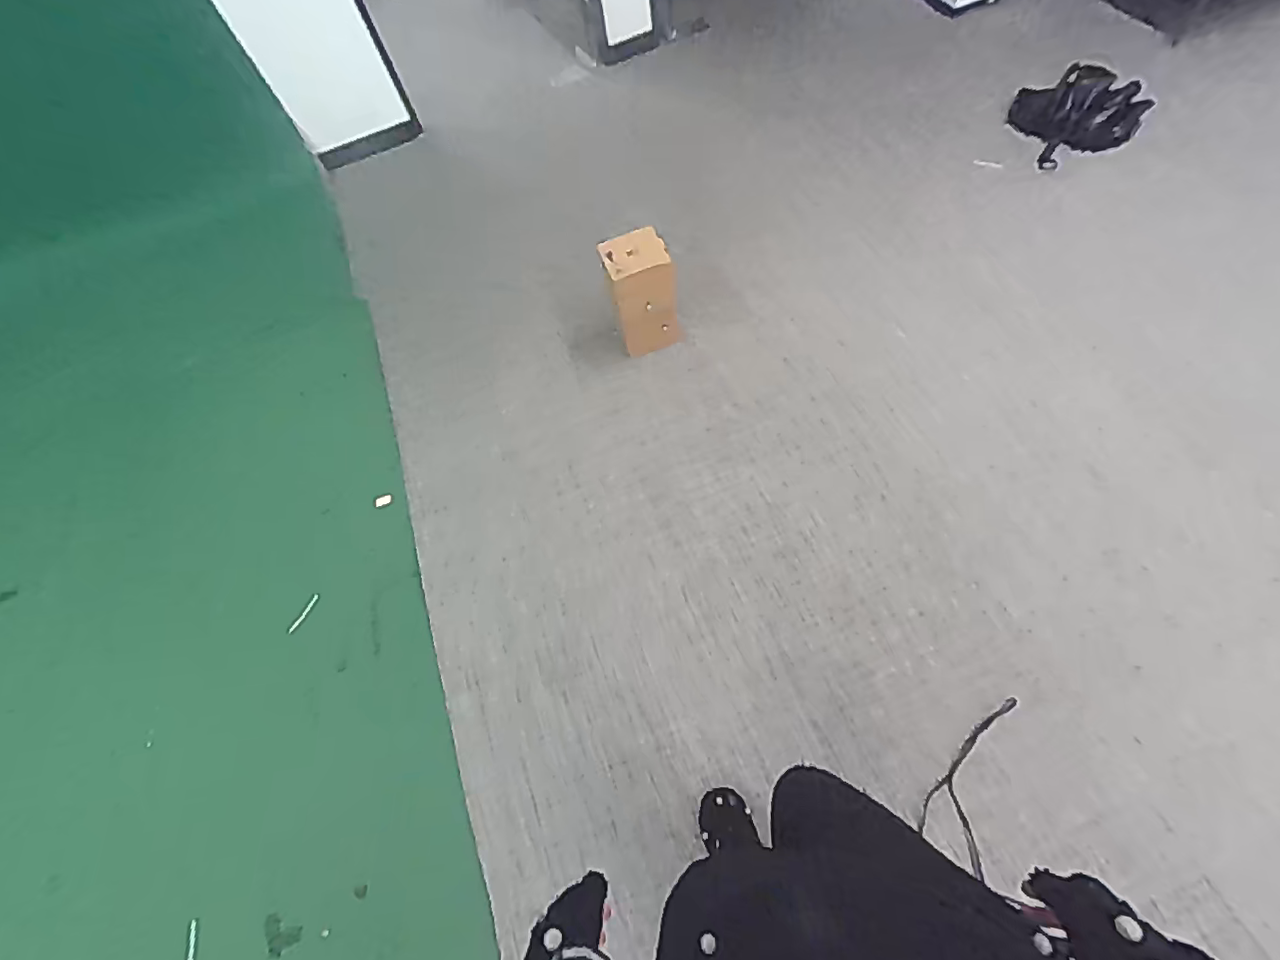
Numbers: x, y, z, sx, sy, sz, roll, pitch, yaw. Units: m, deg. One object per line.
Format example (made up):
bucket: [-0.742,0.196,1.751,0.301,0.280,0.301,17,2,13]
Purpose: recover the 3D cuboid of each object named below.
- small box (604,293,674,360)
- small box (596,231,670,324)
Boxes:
small box: [0.003,-0.524,1.751,0.179,0.176,0.168,-23,62,-2]
small box: [-0.015,-0.597,1.606,0.179,0.176,0.168,-20,62,-3]
